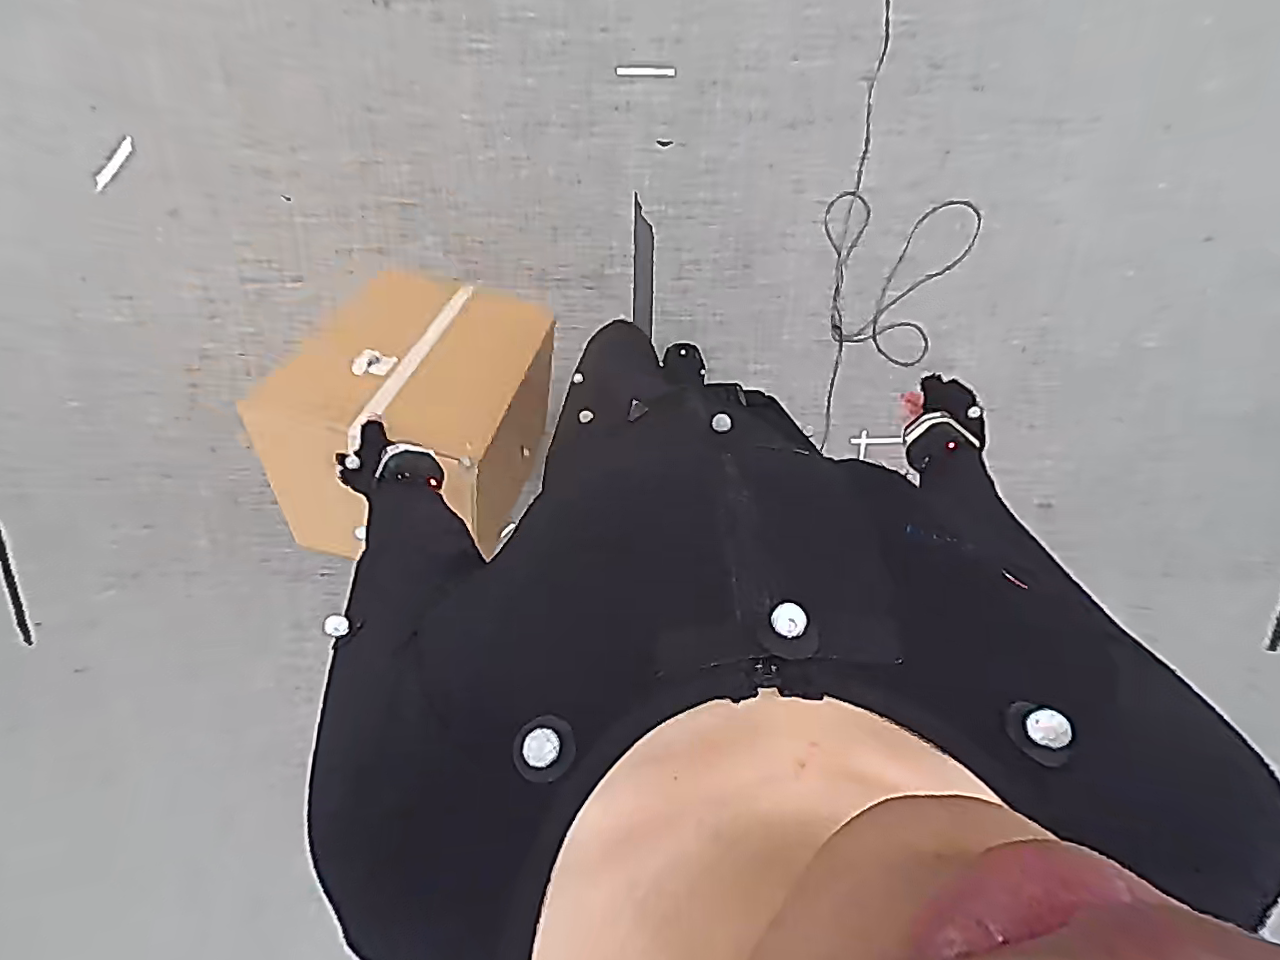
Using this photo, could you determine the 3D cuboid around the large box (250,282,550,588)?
[{"bbox_3d":[-0.367,-0.085,0.955,0.320,0.408,0.320,14,136,-1],"label":"large box"}]
